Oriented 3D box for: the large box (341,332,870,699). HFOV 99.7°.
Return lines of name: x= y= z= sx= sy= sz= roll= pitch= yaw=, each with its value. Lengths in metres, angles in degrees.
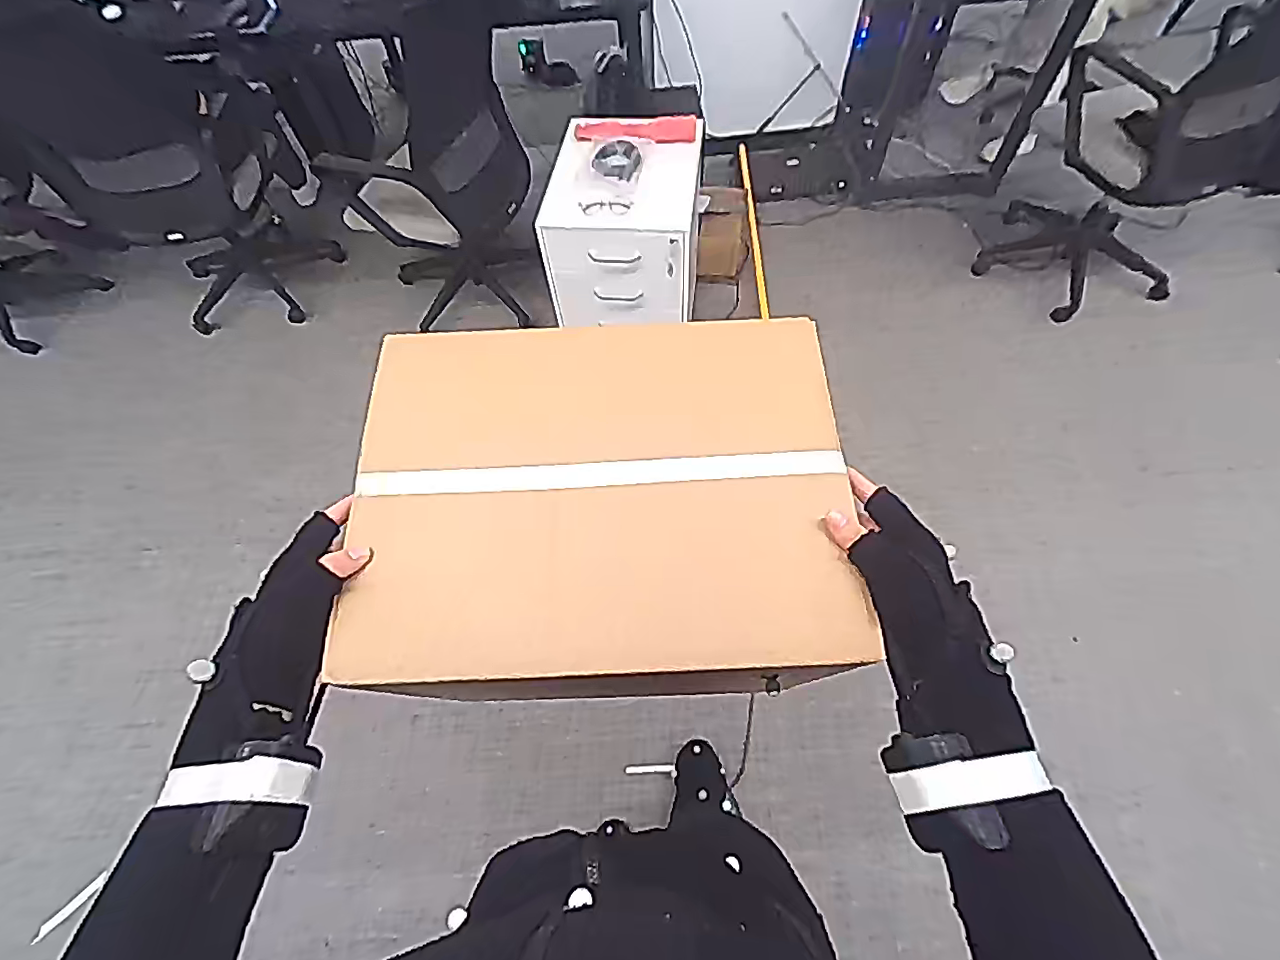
large box: x=-0.029 y=0.065 z=0.597 sx=0.408 sy=0.320 sz=0.320 roll=-2 pitch=65 yaw=0
